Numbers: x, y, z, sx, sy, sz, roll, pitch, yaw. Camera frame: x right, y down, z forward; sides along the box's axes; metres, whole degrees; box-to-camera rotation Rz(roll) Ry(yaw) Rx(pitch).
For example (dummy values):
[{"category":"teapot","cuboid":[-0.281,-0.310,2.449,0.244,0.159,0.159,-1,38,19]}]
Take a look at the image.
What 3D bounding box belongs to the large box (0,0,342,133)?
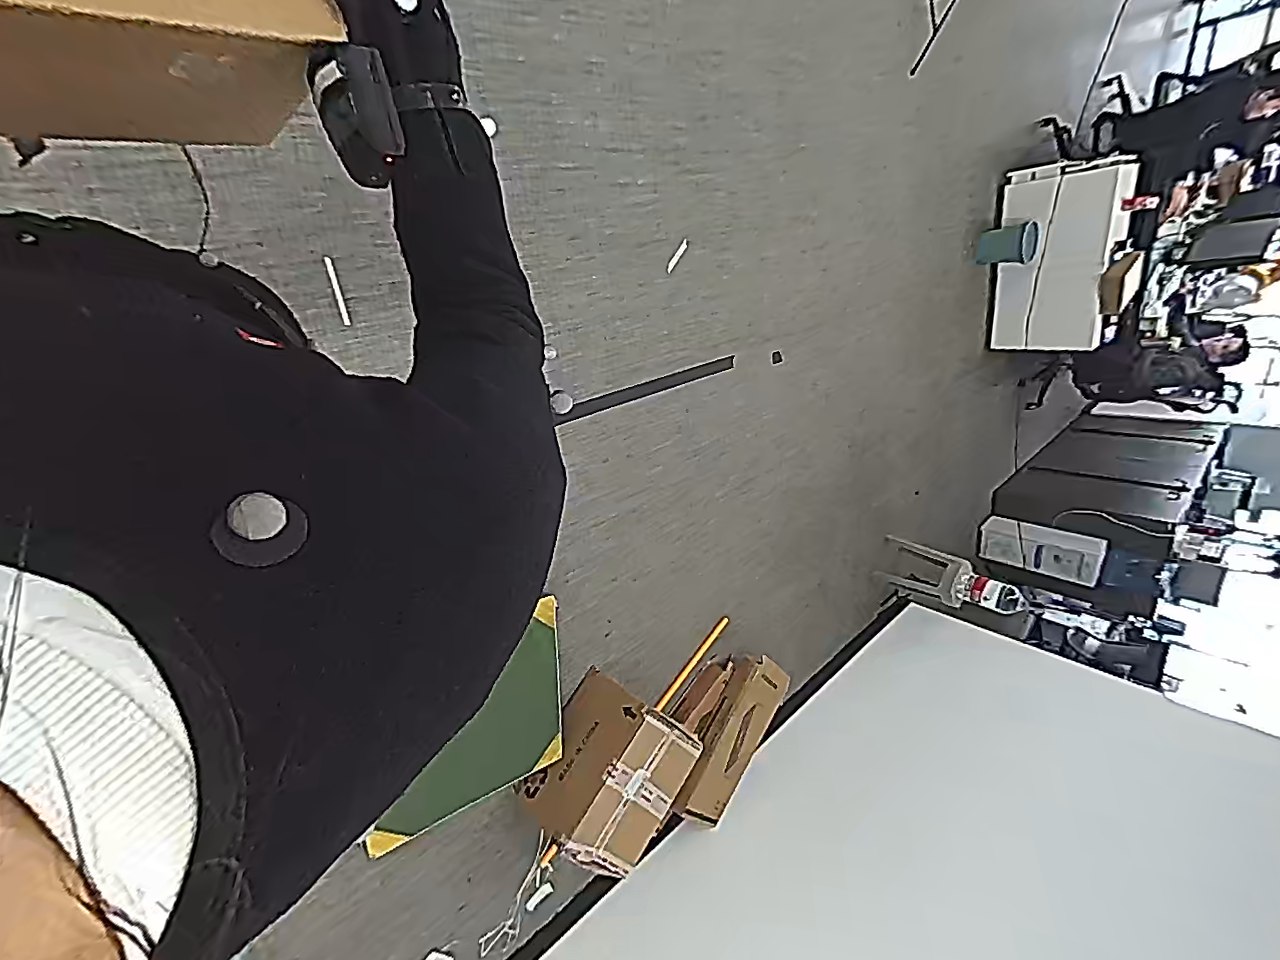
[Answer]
[{"category":"large box","cuboid":[-0.442,-0.381,0.263,0.408,0.320,0.320,-24,121,-36]}]
